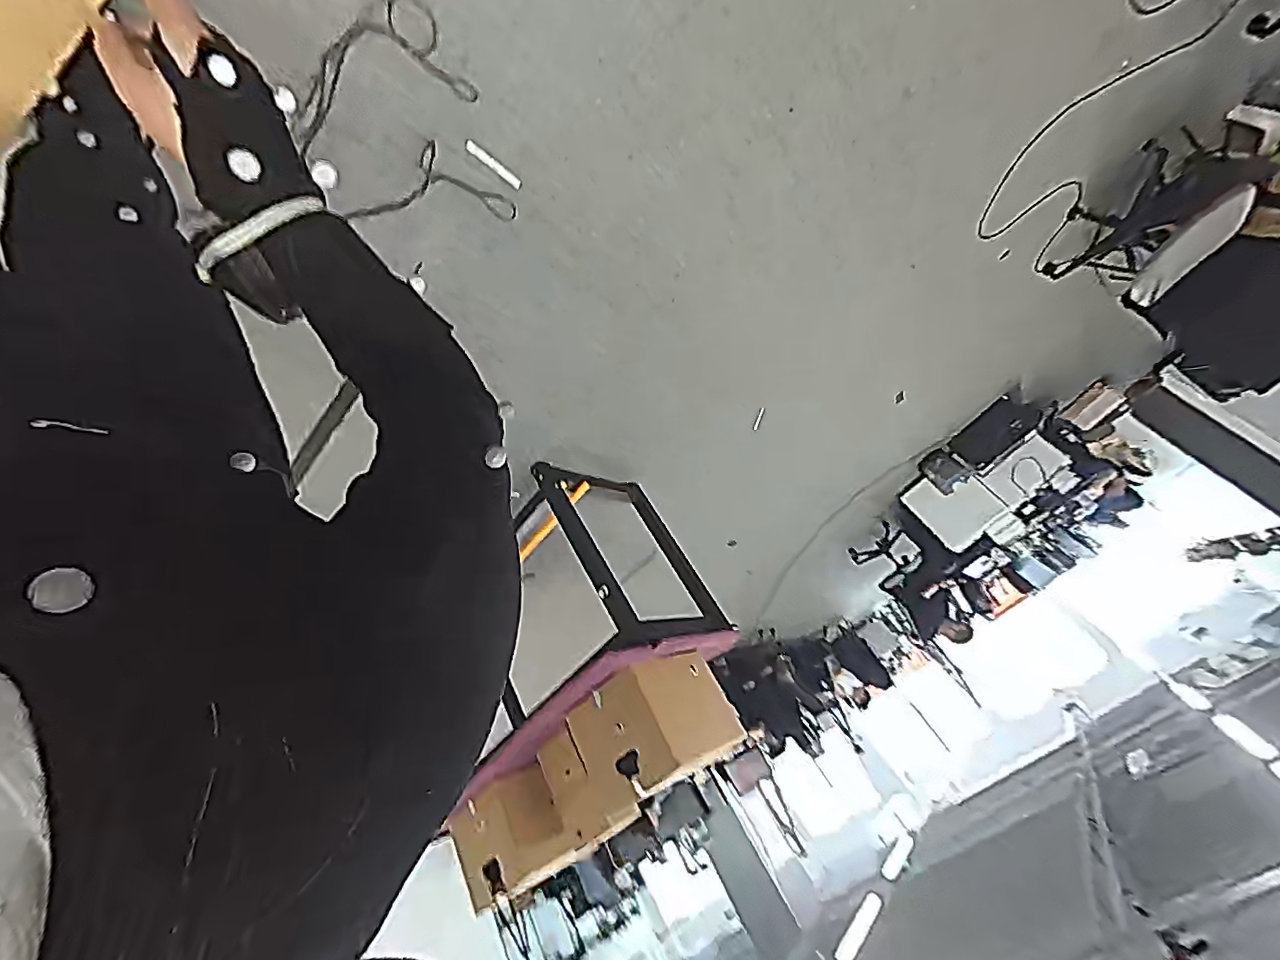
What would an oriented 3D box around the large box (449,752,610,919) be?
[{"bbox_3d":[-0.396,1.245,1.934,0.320,0.320,0.408,-47,149,21],"label":"large box"}]
